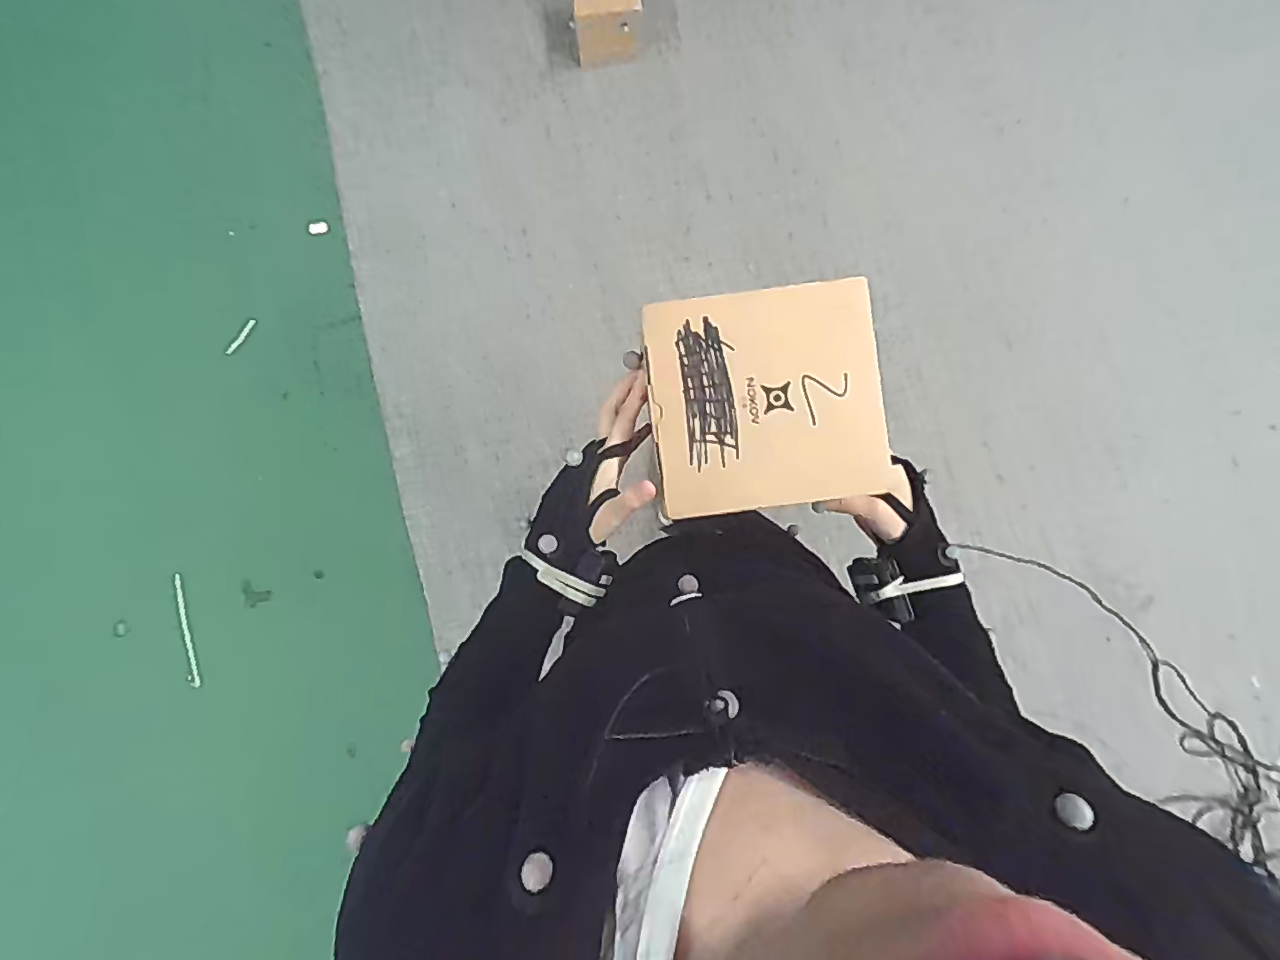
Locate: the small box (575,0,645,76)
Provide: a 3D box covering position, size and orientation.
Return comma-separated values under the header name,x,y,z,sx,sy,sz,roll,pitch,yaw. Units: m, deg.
name,x,y,z,sx,sy,sz,roll,pitch,yaw
small box,-0.083,-1.249,1.472,0.179,0.176,0.168,-7,88,0
